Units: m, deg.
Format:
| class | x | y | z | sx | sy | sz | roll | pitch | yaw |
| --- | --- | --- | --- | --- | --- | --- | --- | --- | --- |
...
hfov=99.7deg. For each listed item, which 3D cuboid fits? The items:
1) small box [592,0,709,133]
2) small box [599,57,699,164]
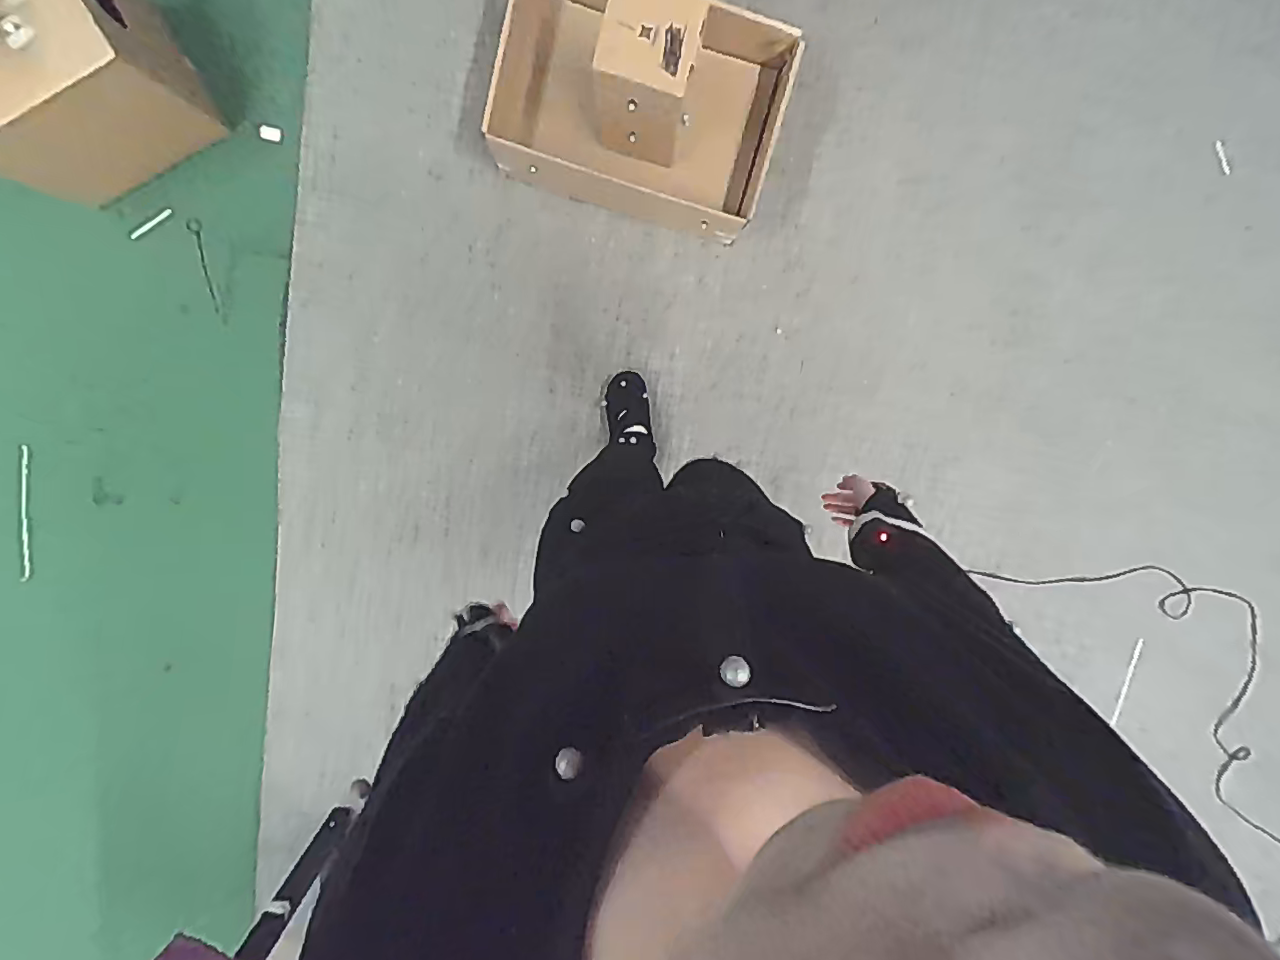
| class | x | y | z | sx | sy | sz | roll | pitch | yaw |
| --- | --- | --- | --- | --- | --- | --- | --- | --- | --- |
| small box | 0.017 | -0.806 | 1.040 | 0.179 | 0.176 | 0.168 | 16 | 99 | -3 |
| small box | 0.016 | -0.836 | 1.201 | 0.179 | 0.176 | 0.168 | 15 | 100 | -4 |
